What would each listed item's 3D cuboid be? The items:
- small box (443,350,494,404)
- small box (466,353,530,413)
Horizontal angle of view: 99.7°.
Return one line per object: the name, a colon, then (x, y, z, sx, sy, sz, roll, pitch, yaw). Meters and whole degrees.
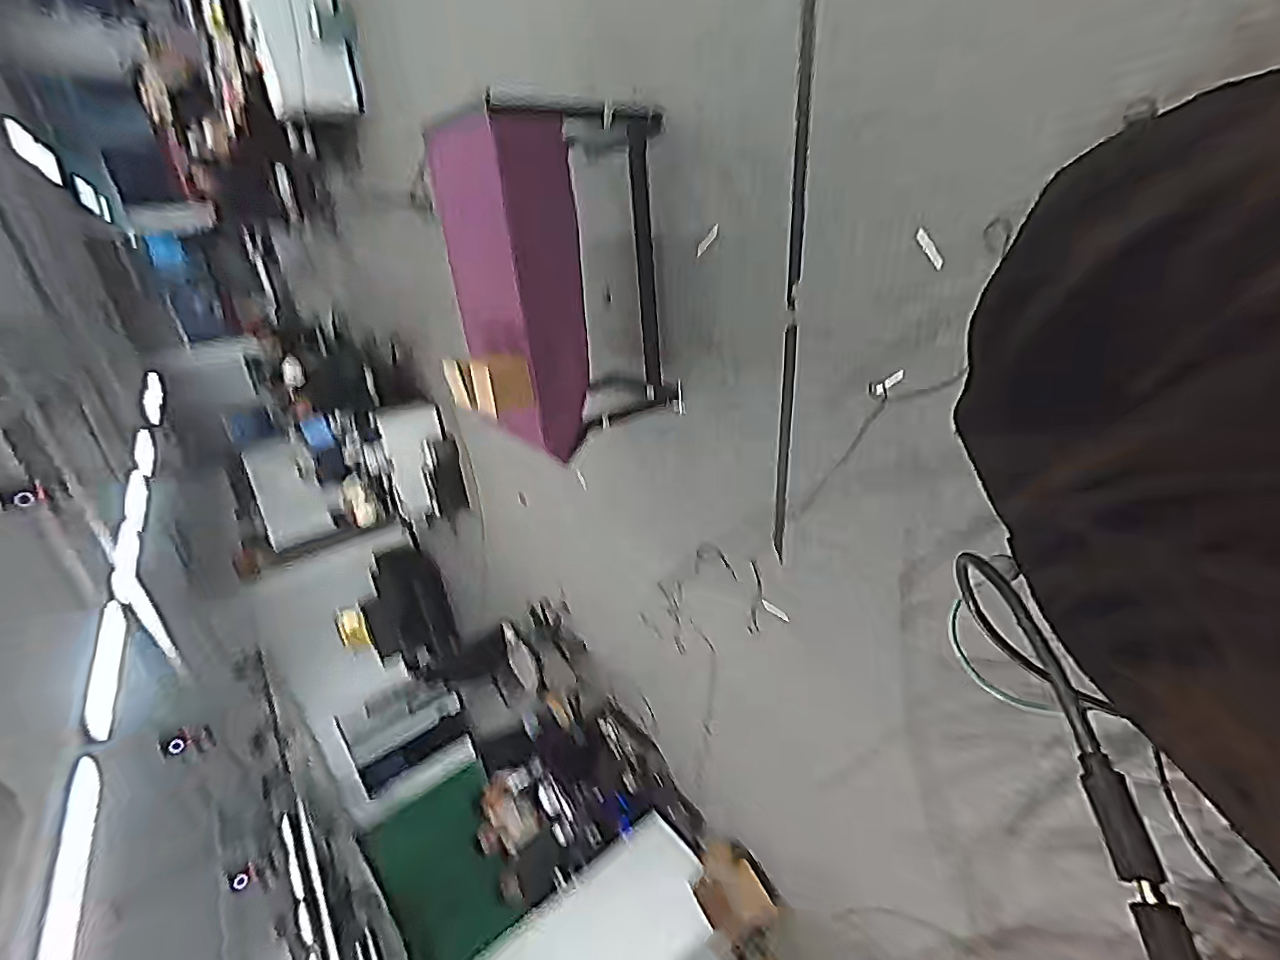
small box: (-0.687, -0.429, 2.238, 0.168, 0.176, 0.179, 21, 125, 47)
small box: (-0.534, -0.373, 2.058, 0.168, 0.176, 0.179, 24, 127, 46)
